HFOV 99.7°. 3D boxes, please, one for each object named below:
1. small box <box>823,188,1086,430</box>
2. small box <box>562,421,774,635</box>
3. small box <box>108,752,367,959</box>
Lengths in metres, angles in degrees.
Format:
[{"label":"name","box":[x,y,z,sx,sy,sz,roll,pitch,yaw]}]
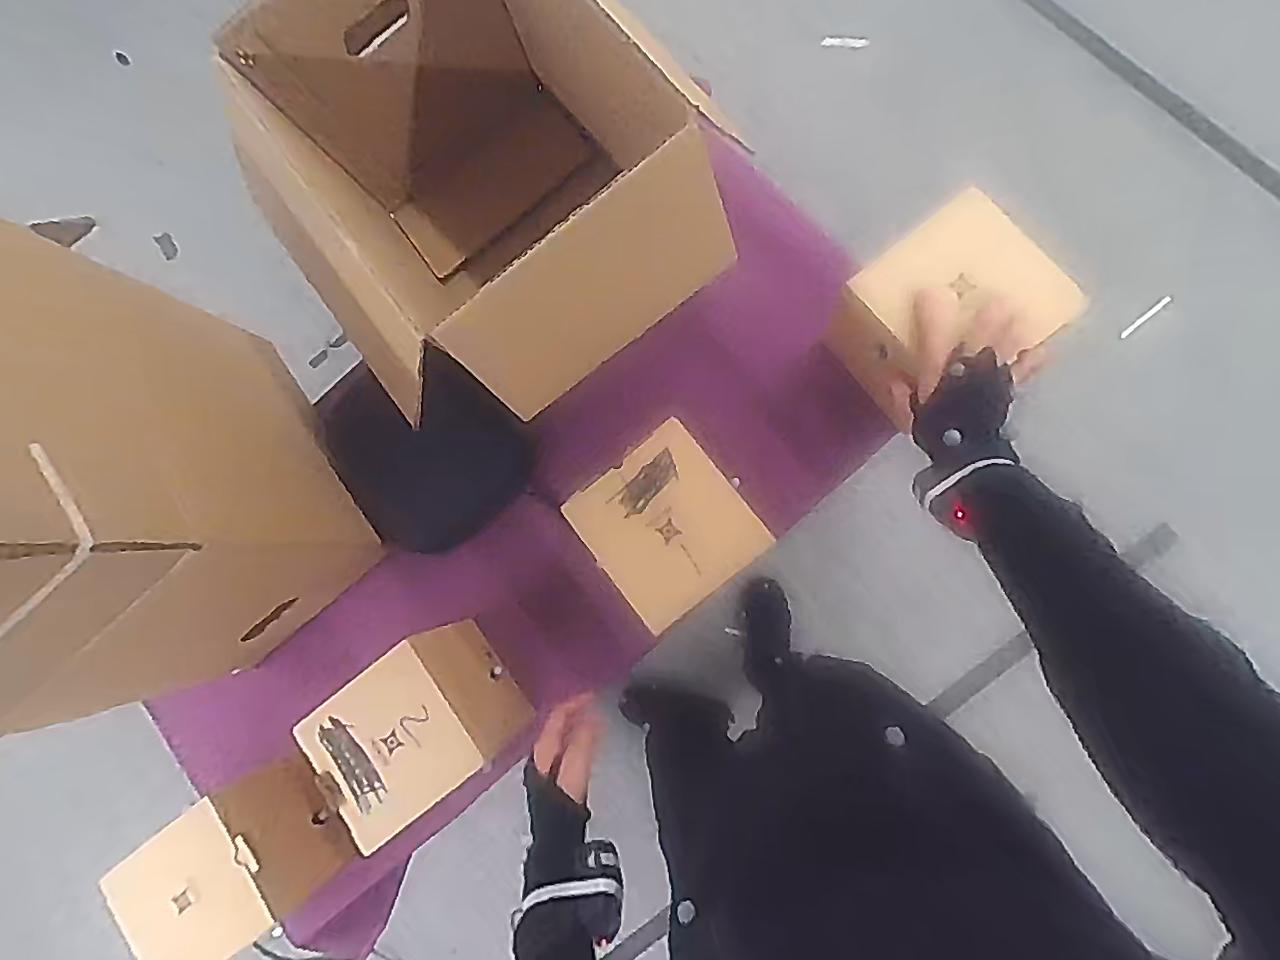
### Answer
[{"label":"small box","box":[0.339,-0.182,0.631,0.168,0.176,0.179,-38,80,4]},{"label":"small box","box":[0.037,0.058,0.656,0.168,0.176,0.179,-39,81,4]},{"label":"small box","box":[-0.501,0.495,0.696,0.179,0.176,0.168,-38,80,2]}]
